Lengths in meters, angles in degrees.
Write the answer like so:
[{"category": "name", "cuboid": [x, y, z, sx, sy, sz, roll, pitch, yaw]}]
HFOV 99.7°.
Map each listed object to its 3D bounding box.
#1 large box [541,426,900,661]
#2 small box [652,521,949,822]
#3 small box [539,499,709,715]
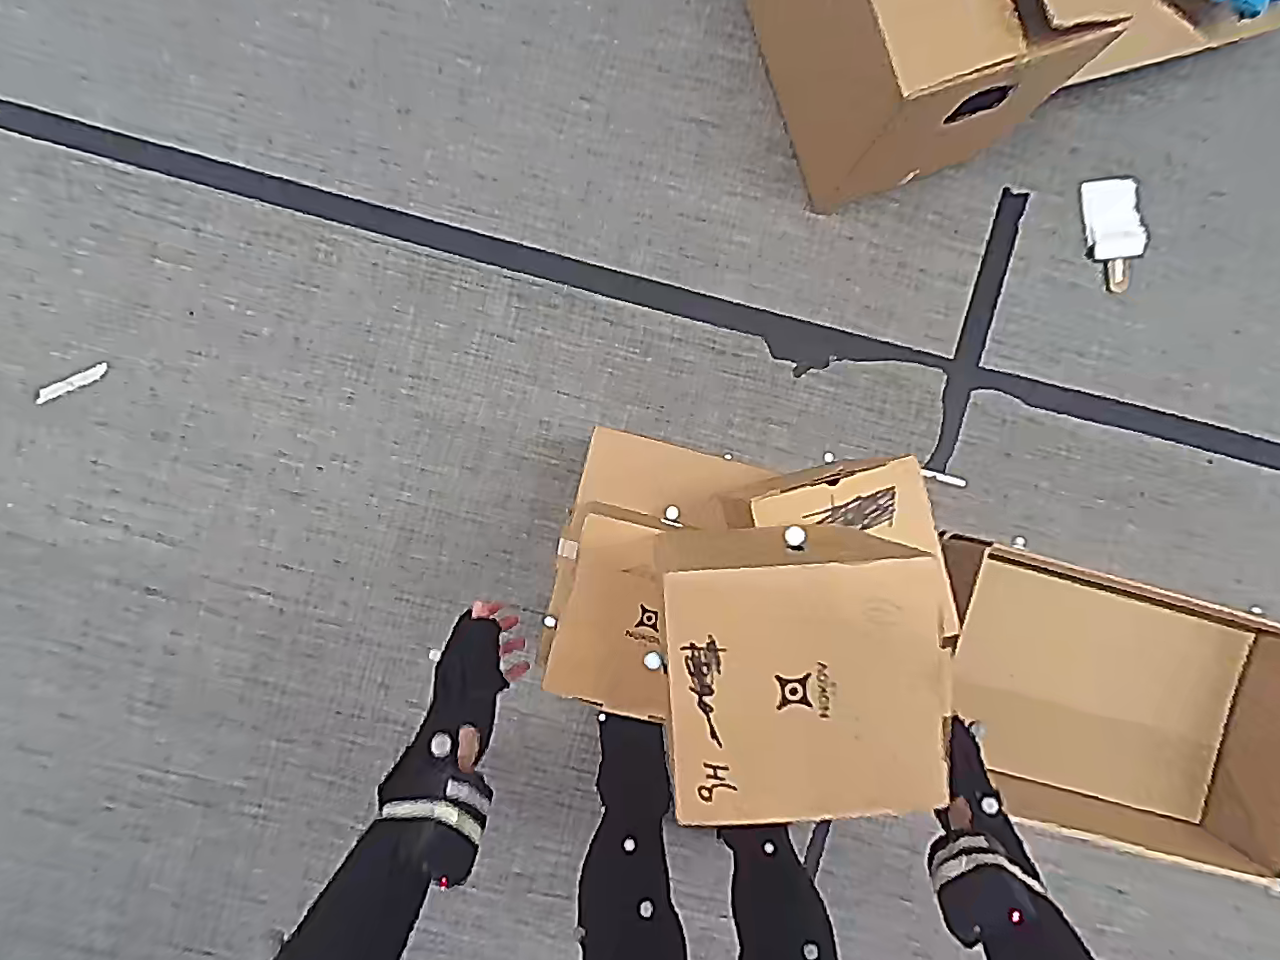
[{"category": "large box", "cuboid": [0.095, 0.119, 0.821, 0.408, 0.320, 0.320, 14, 92, -2]}, {"category": "small box", "cuboid": [0.103, 0.124, 0.415, 0.179, 0.176, 0.168, -3, 92, 0]}, {"category": "small box", "cuboid": [0.001, 0.124, 0.577, 0.168, 0.176, 0.179, 14, 90, -4]}]
